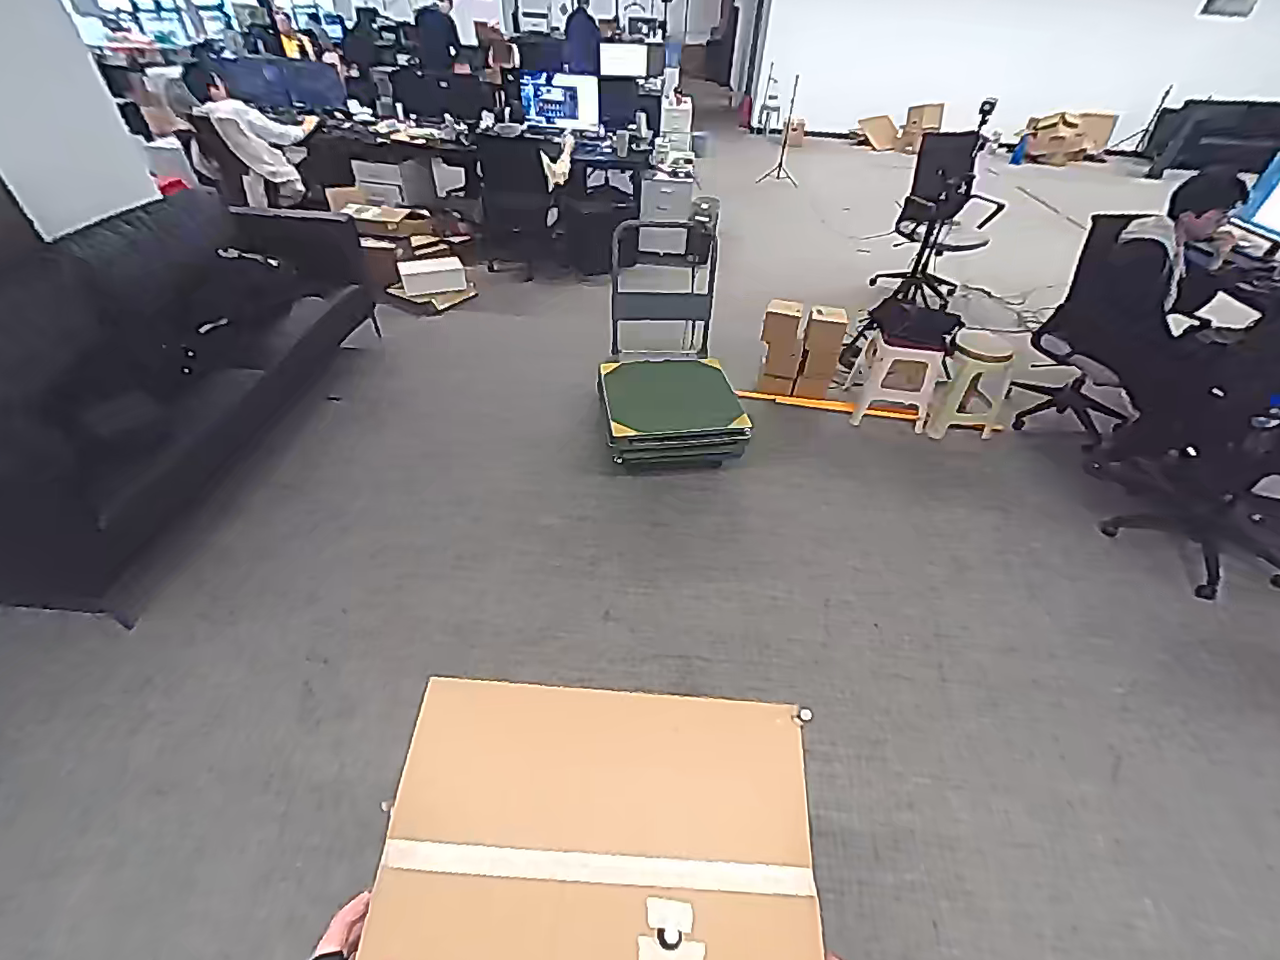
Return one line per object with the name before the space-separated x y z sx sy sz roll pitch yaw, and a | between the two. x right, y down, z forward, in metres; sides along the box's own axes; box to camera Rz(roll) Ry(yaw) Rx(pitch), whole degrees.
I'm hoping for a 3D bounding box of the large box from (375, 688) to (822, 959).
large box | -0.041 0.449 0.638 0.408 0.320 0.320 4 58 -2
